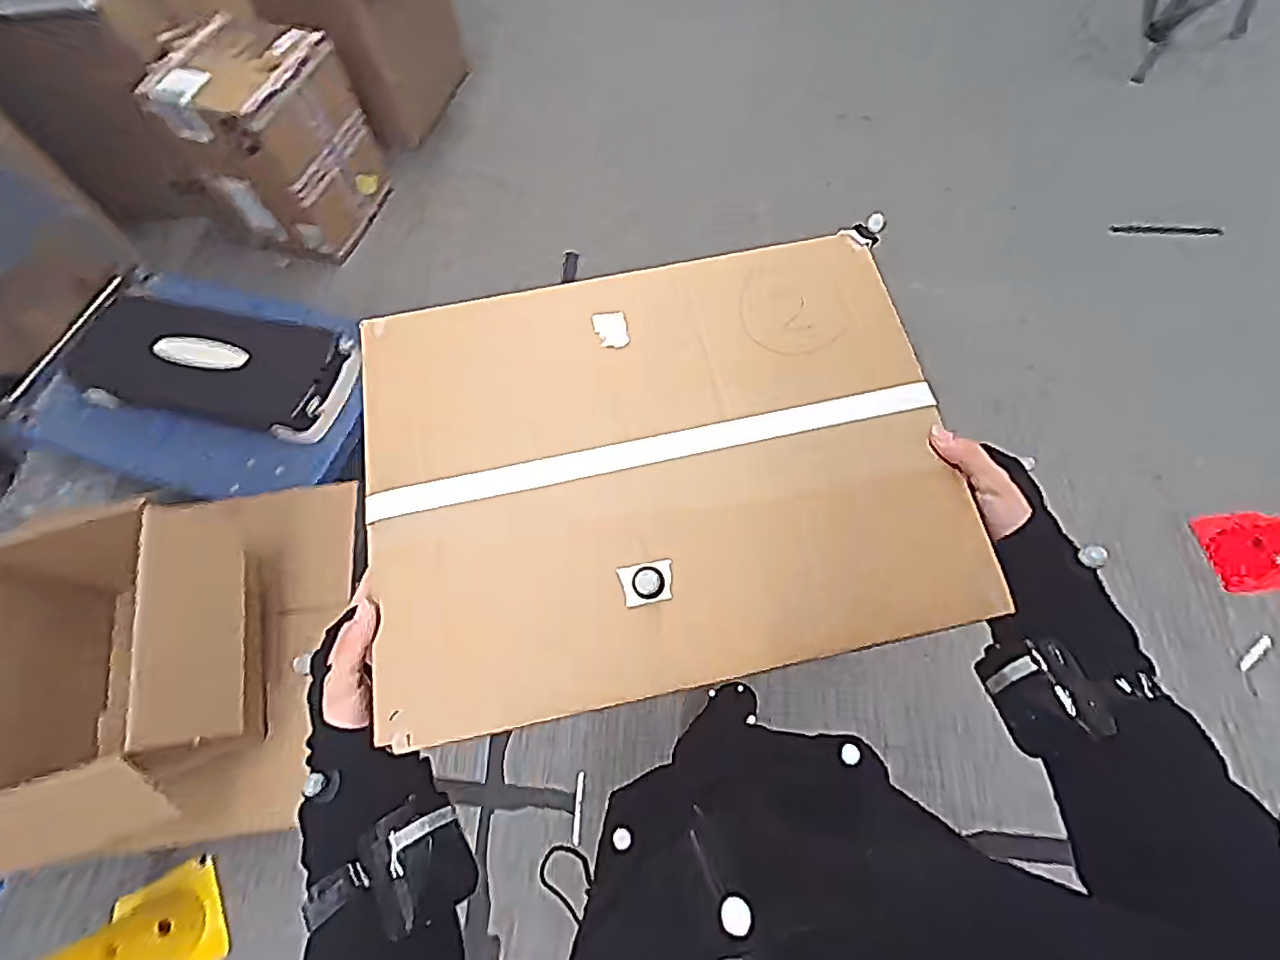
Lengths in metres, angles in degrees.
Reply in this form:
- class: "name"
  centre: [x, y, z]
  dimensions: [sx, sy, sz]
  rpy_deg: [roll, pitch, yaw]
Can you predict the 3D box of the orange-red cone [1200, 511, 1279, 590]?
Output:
- class: "orange-red cone"
  centre: [1.540, 0.106, 1.205]
  dimensions: [0.198, 0.360, 0.199]
  rpy_deg: [-5, 65, -2]
